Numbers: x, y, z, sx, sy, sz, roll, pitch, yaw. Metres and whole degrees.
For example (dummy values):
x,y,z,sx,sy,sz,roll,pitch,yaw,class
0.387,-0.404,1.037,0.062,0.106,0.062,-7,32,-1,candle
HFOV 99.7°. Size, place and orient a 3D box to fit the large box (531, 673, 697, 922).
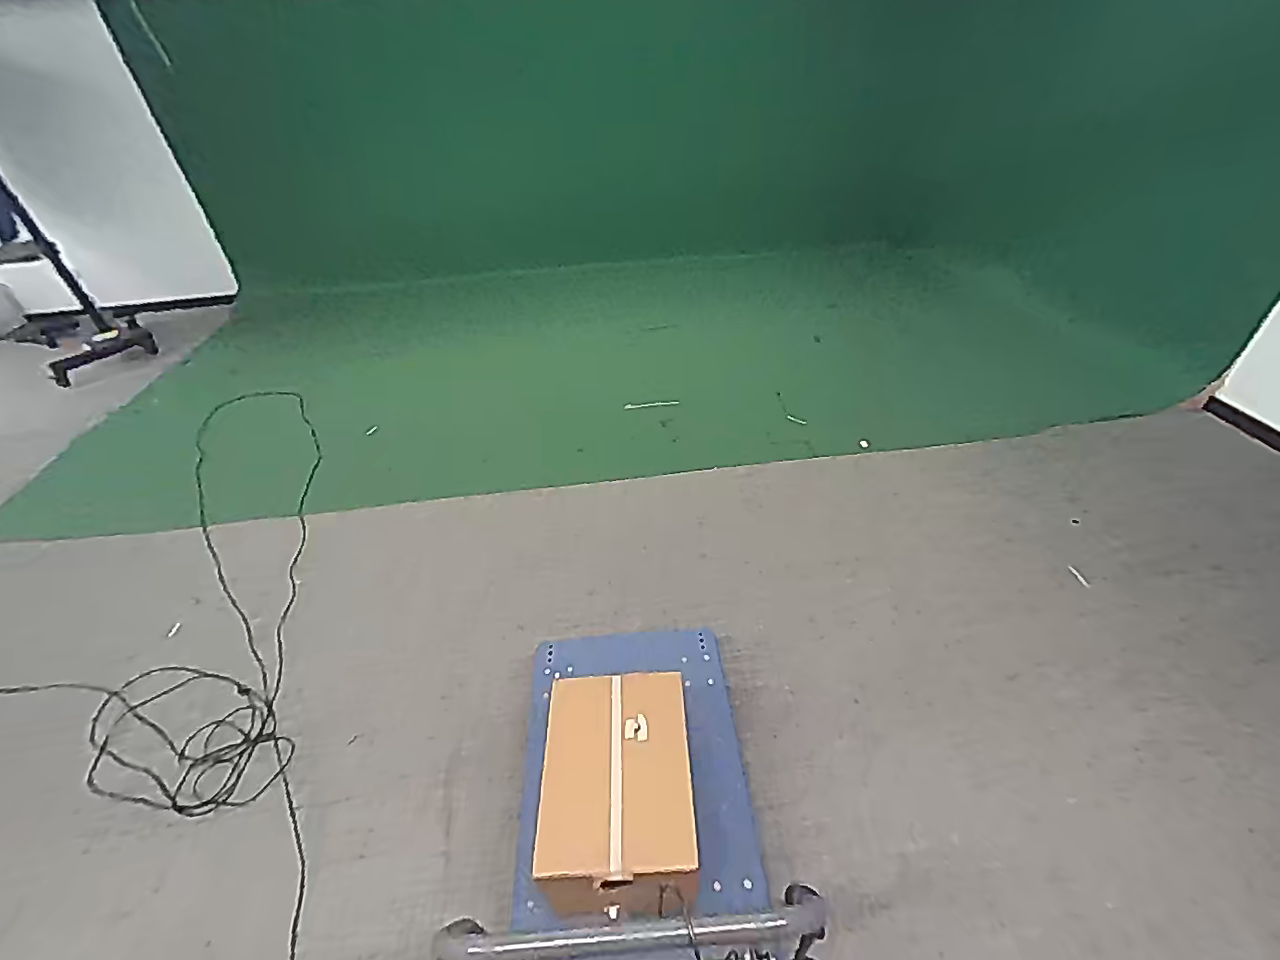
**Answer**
x,y,z,sx,sy,sz,roll,pitch,yaw,class
-0.048,0.712,1.234,0.320,0.320,0.408,-3,39,0,large box
